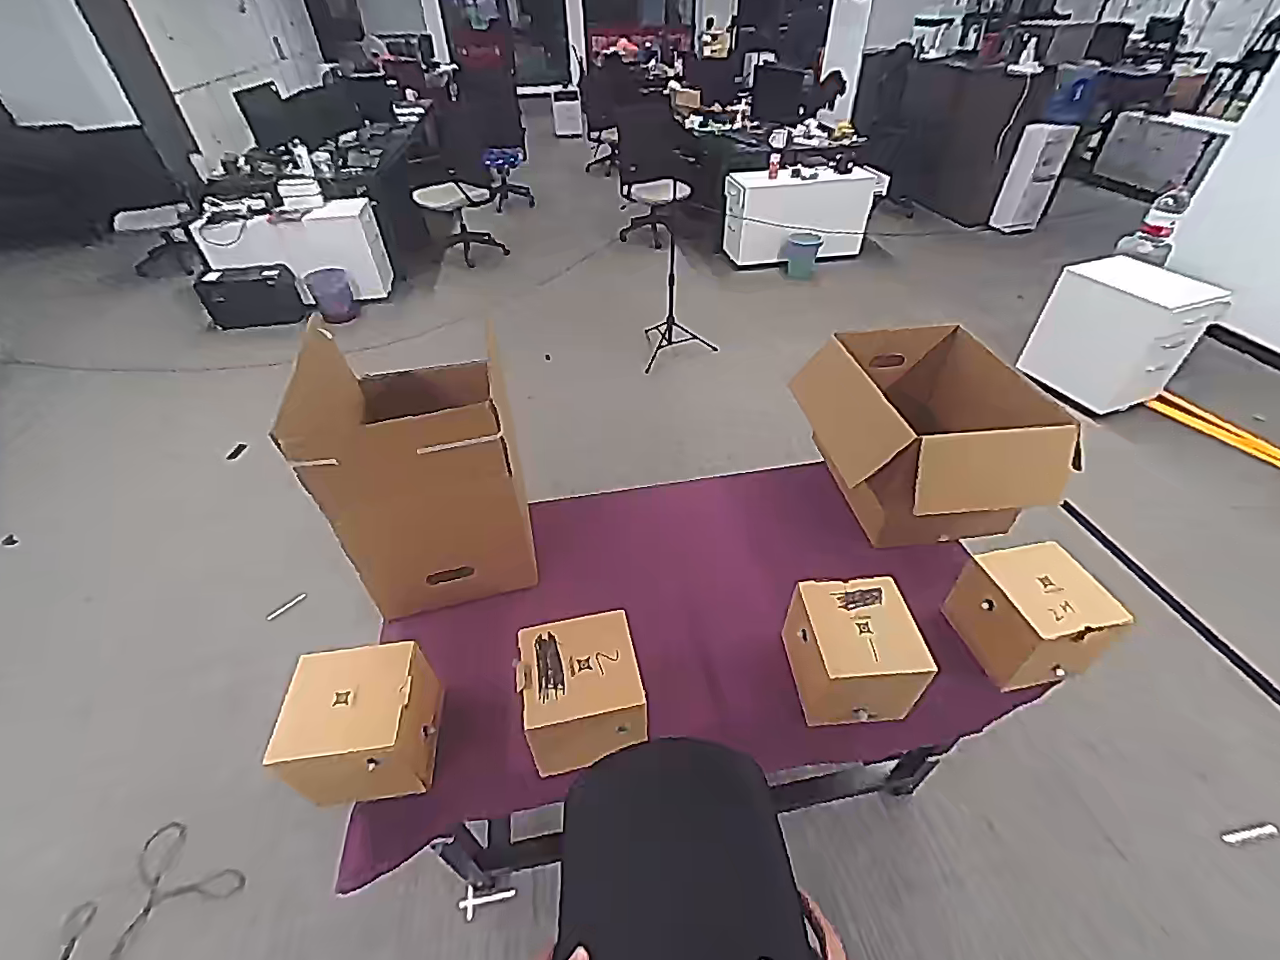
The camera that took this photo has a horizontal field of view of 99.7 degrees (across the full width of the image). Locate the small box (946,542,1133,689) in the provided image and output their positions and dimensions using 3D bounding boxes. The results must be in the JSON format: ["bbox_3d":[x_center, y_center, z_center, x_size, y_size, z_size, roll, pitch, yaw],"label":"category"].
[{"bbox_3d":[0.680,0.237,0.950,0.168,0.176,0.179,-9,43,-6],"label":"small box"}]

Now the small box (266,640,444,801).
[{"bbox_3d":[-0.423,0.374,0.838,0.179,0.176,0.168,-6,42,-6],"label":"small box"}]

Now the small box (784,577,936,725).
[{"bbox_3d":[0.352,0.287,0.909,0.168,0.176,0.179,-3,43,-2],"label":"small box"}]
